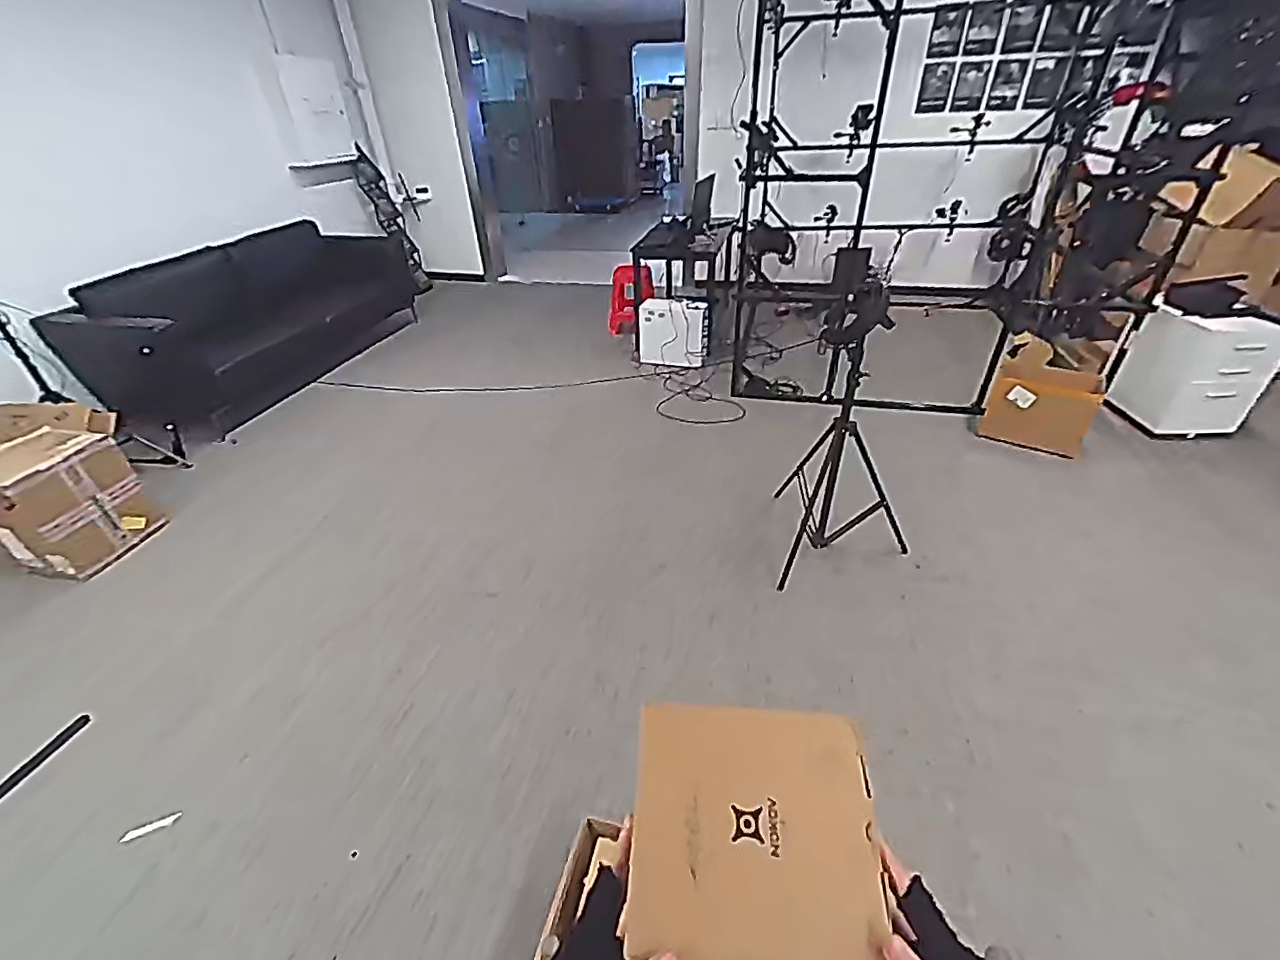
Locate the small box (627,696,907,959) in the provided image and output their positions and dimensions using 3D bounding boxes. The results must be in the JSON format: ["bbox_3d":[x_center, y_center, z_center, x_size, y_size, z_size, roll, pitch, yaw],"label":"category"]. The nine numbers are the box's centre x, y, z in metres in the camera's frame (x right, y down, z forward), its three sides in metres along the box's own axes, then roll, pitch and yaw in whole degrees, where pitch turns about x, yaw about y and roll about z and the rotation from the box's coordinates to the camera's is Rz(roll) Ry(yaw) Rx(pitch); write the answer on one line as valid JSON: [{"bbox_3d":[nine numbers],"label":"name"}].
[{"bbox_3d":[0.087,0.293,0.446,0.179,0.176,0.168,0,48,5],"label":"small box"}]
